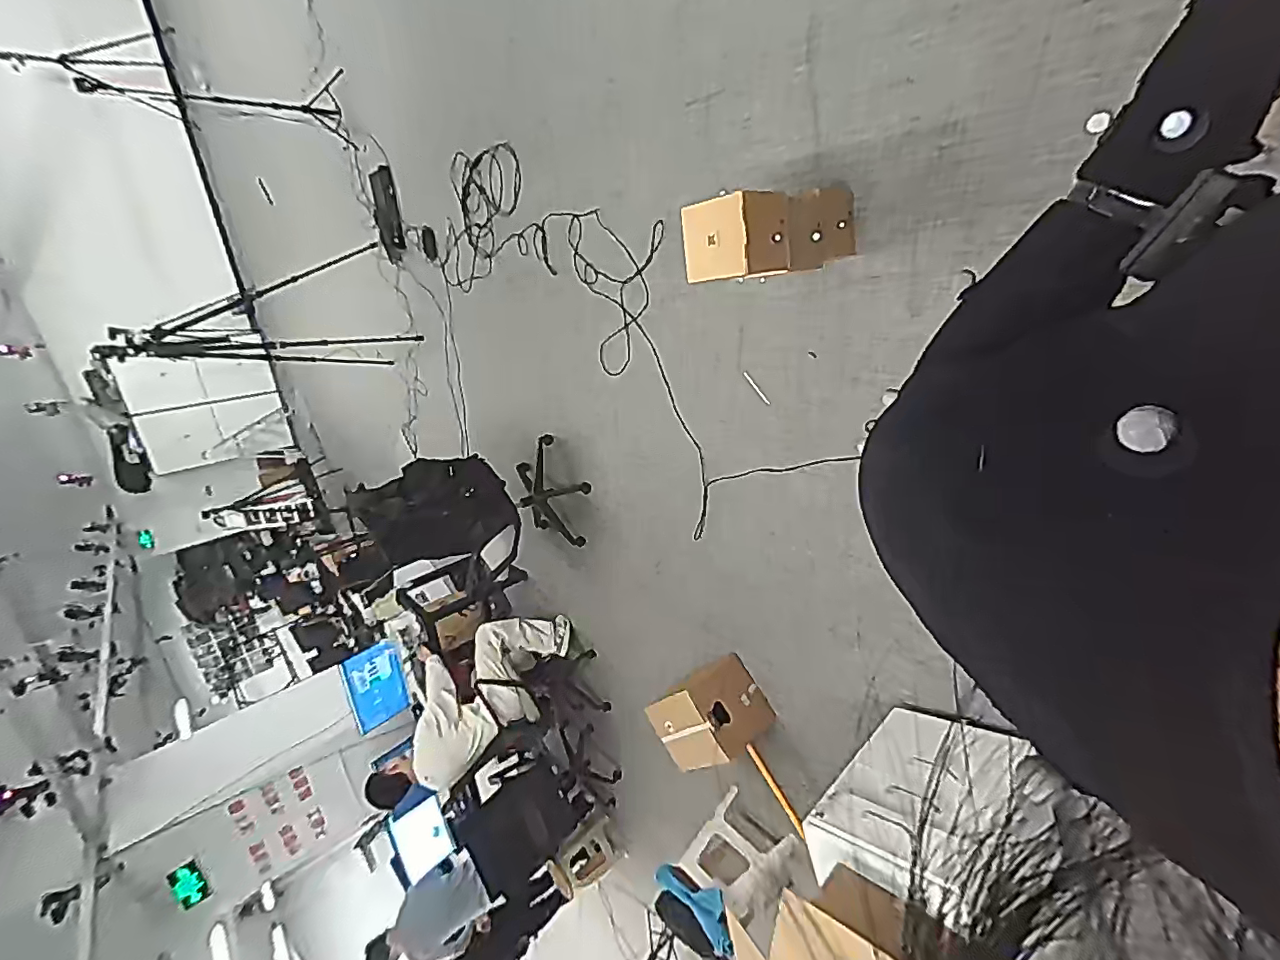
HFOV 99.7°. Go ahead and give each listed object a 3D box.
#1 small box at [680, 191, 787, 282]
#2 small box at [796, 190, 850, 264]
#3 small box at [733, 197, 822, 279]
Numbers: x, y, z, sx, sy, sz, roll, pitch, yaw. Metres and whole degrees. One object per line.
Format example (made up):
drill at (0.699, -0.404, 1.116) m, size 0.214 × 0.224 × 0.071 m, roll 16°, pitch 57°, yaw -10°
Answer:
small box at (0.219, -0.559, 1.255) m, size 0.179 × 0.176 × 0.168 m, roll 11°, pitch 116°, yaw 46°
small box at (0.450, -0.670, 1.458) m, size 0.179 × 0.176 × 0.168 m, roll 8°, pitch 113°, yaw 48°
small box at (0.335, -0.603, 1.360) m, size 0.179 × 0.176 × 0.168 m, roll 13°, pitch 117°, yaw 46°
